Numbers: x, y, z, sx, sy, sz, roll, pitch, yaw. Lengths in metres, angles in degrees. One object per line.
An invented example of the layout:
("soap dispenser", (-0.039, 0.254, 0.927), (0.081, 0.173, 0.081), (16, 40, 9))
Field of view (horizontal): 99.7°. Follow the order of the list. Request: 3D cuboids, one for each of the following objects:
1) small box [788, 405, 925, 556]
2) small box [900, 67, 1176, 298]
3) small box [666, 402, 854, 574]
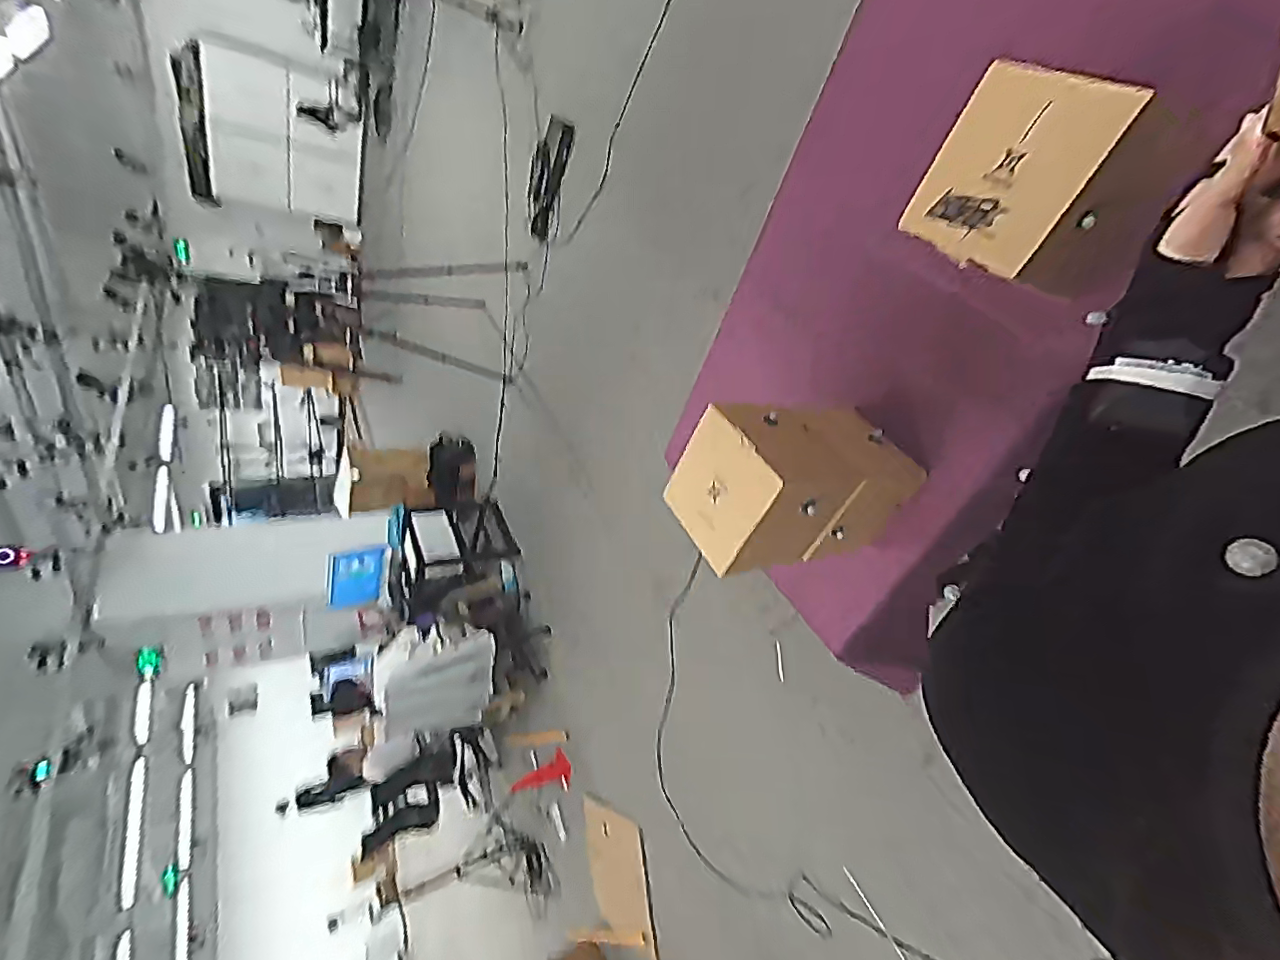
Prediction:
("small box", (0.306, -0.001, 0.869), (0.179, 0.176, 0.168), (55, 135, 37))
("small box", (0.456, -0.332, 0.627), (0.168, 0.176, 0.179), (54, 133, 37))
("small box", (0.172, 0.007, 0.774), (0.168, 0.176, 0.179), (57, 136, 36))
